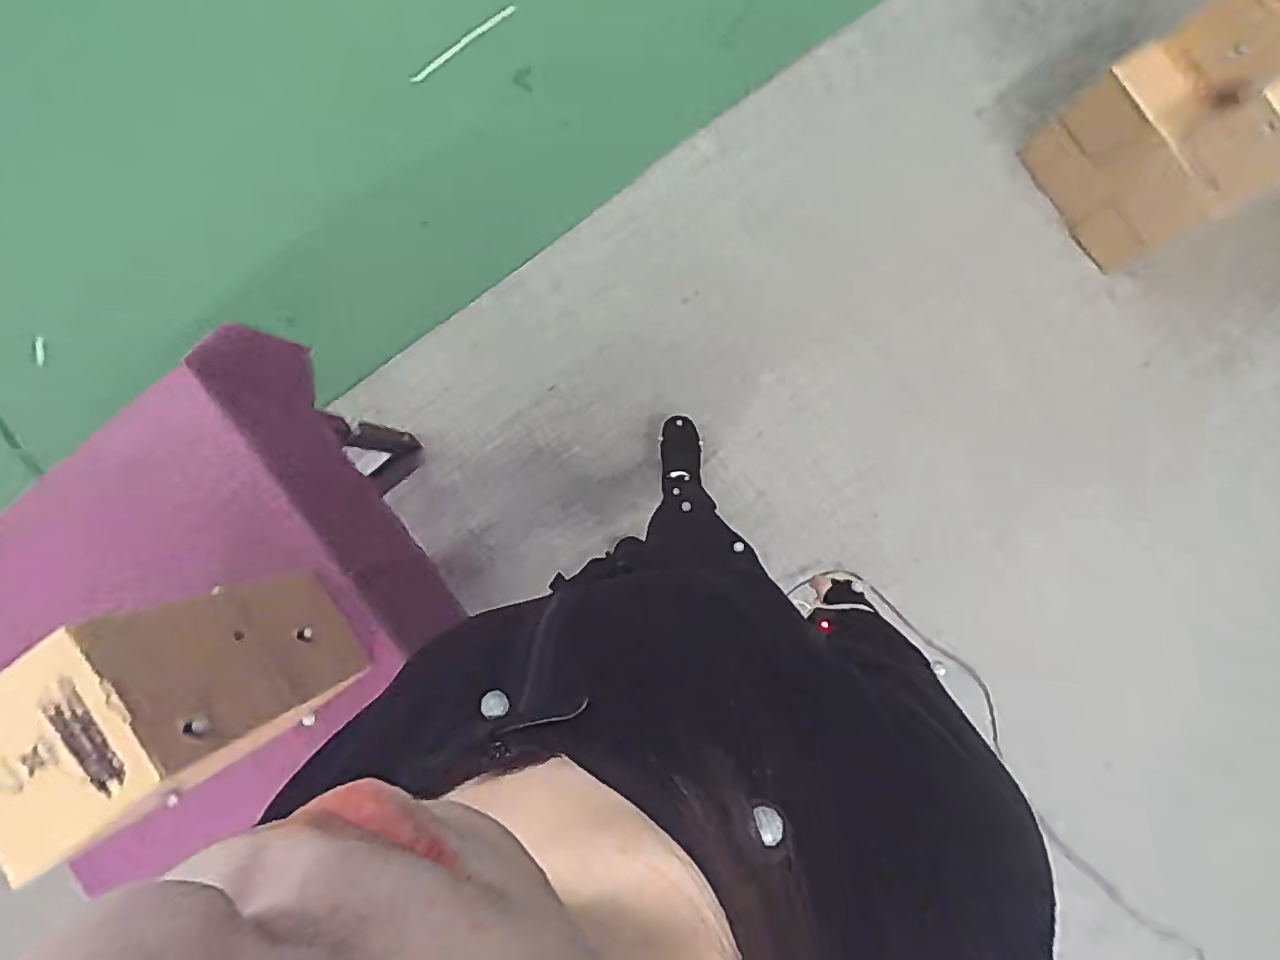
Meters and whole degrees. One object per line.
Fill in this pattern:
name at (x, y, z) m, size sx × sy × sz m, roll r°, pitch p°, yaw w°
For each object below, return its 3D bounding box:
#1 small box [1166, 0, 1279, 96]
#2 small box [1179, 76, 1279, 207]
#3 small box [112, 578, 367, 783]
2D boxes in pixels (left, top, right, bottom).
small box at (1.226, -0.929, 1.083) m, size 0.179 × 0.176 × 0.168 m, roll -32°, pitch 86°, yaw -1°
small box at (1.249, -0.686, 1.065) m, size 0.179 × 0.176 × 0.168 m, roll -30°, pitch 86°, yaw 0°
small box at (-0.513, 0.245, 0.718) m, size 0.168 × 0.176 × 0.179 m, roll -36°, pitch 87°, yaw 2°
